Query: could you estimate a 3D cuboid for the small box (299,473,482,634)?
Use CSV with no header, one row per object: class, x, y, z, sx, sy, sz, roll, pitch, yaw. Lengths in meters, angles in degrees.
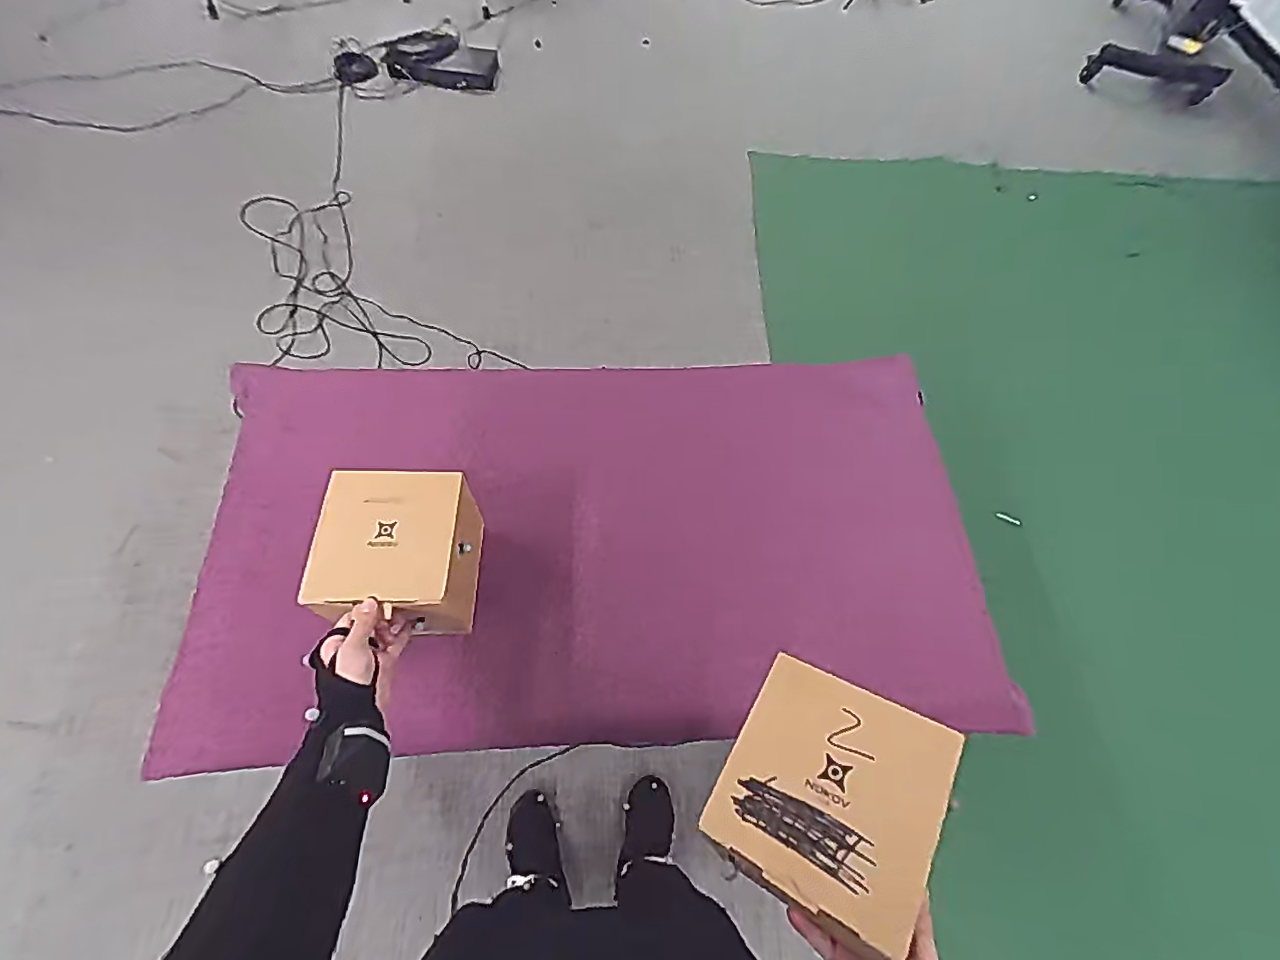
small box,-0.320,0.107,0.738,0.168,0.176,0.179,2,60,-4
